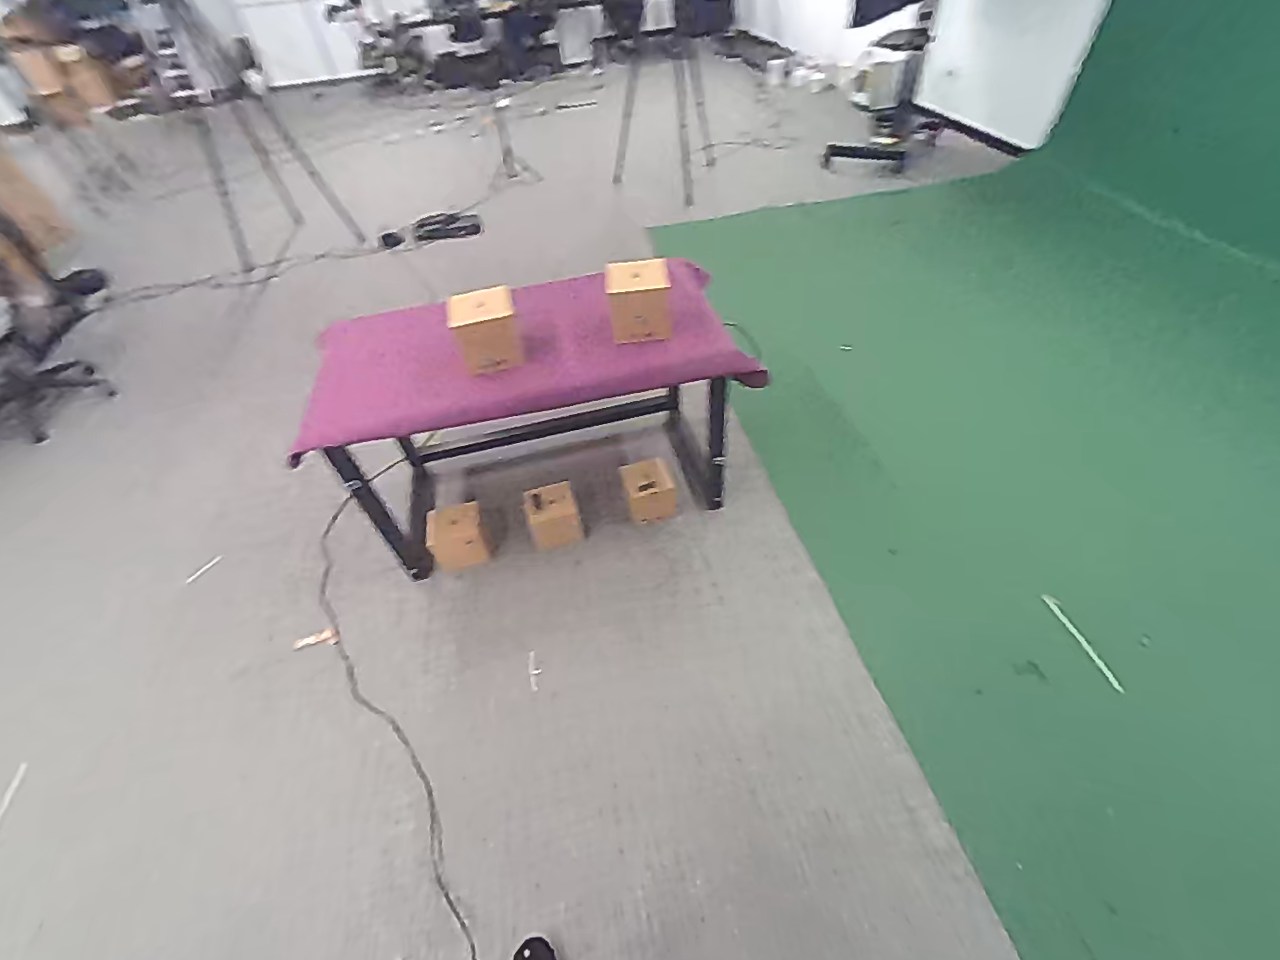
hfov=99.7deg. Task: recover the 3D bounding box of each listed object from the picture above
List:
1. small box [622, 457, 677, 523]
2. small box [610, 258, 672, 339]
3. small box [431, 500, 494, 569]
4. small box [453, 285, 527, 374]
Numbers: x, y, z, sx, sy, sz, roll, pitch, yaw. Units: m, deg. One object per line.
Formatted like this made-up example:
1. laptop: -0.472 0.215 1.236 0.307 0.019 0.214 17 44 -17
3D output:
1. small box: 0.039 0.045 2.050 0.168 0.176 0.179 -14 47 -7
2. small box: 0.004 -0.527 1.590 0.168 0.176 0.179 -5 47 2
3. small box: -0.648 0.204 1.982 0.179 0.176 0.168 -12 47 -6
4. small box: -0.429 -0.430 1.552 0.168 0.176 0.179 -14 48 -6
